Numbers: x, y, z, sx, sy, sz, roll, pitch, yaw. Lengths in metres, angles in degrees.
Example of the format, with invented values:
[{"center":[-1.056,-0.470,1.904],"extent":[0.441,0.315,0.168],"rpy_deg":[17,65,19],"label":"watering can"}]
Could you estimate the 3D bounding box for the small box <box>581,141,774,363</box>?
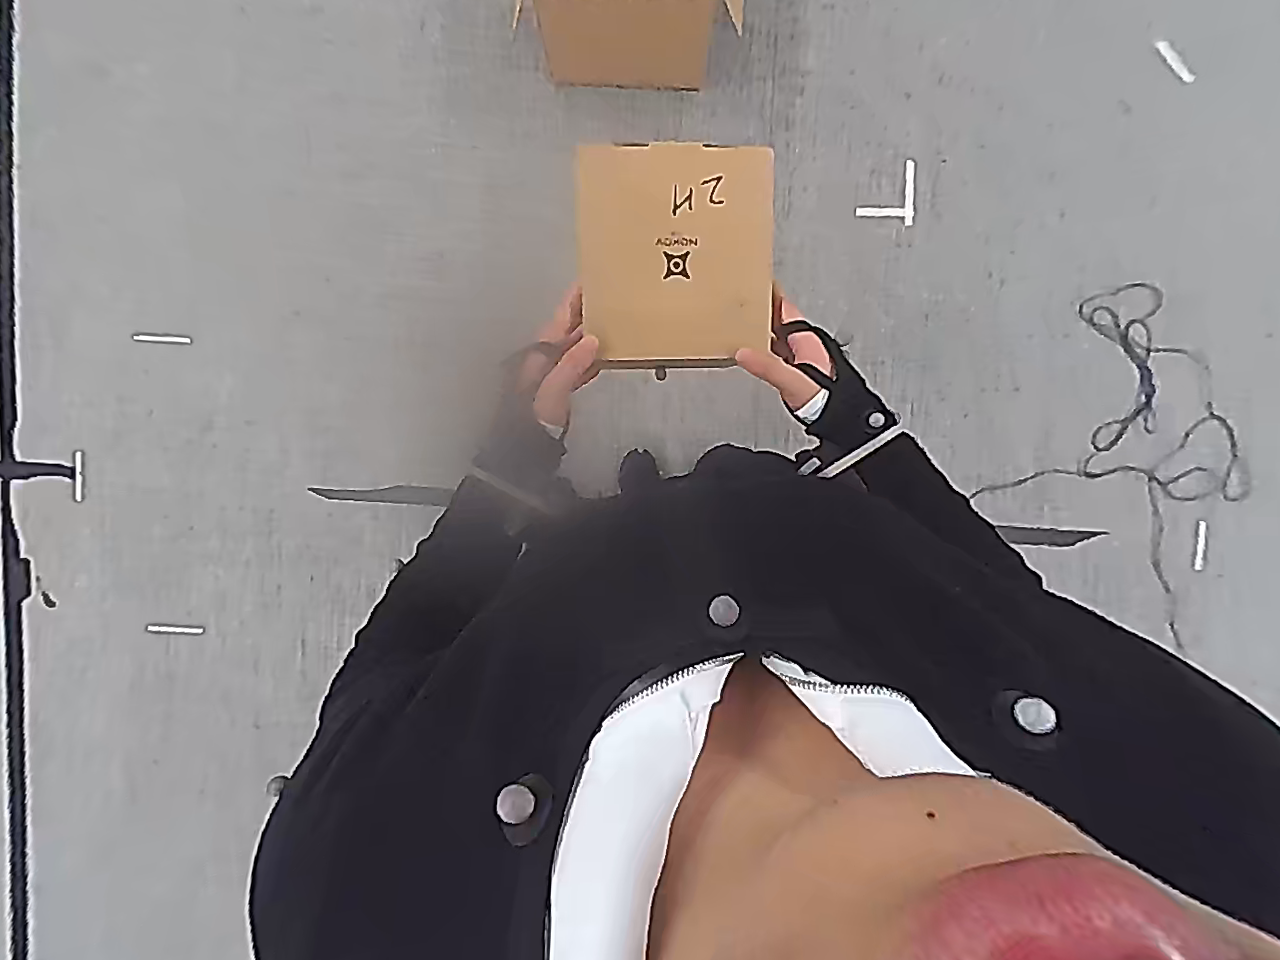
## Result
[{"center":[0.027,-0.210,0.545],"extent":[0.168,0.176,0.179],"rpy_deg":[-2,98,-5],"label":"small box"}]
